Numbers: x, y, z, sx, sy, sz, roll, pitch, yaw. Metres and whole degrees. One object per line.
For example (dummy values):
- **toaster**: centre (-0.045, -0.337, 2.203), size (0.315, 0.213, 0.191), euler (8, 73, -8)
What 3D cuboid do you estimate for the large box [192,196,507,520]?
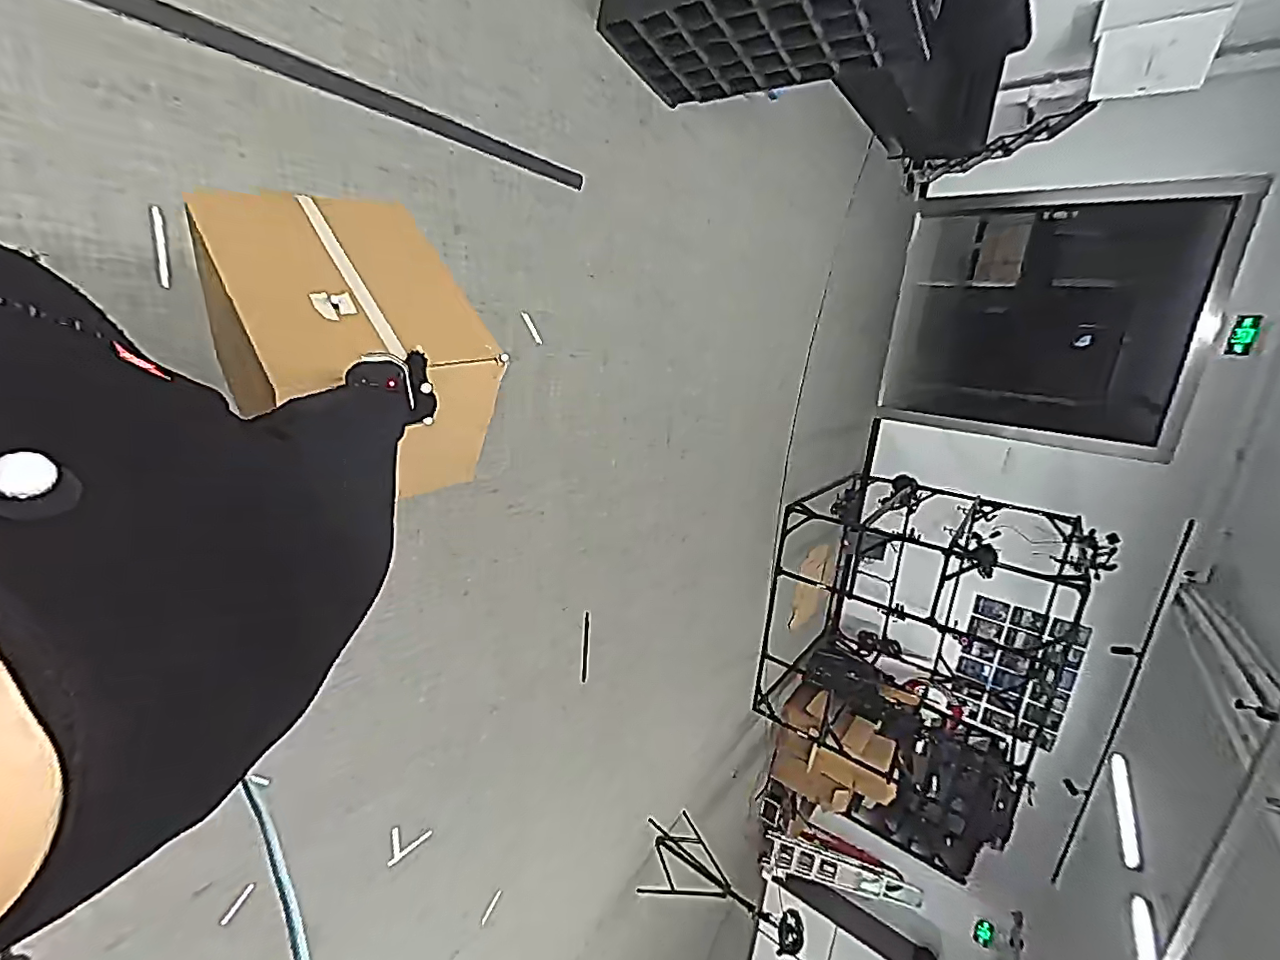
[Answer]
- **large box**: centre (-0.492, -0.208, 0.918), size (0.320, 0.408, 0.320), euler (-19, 155, -40)
